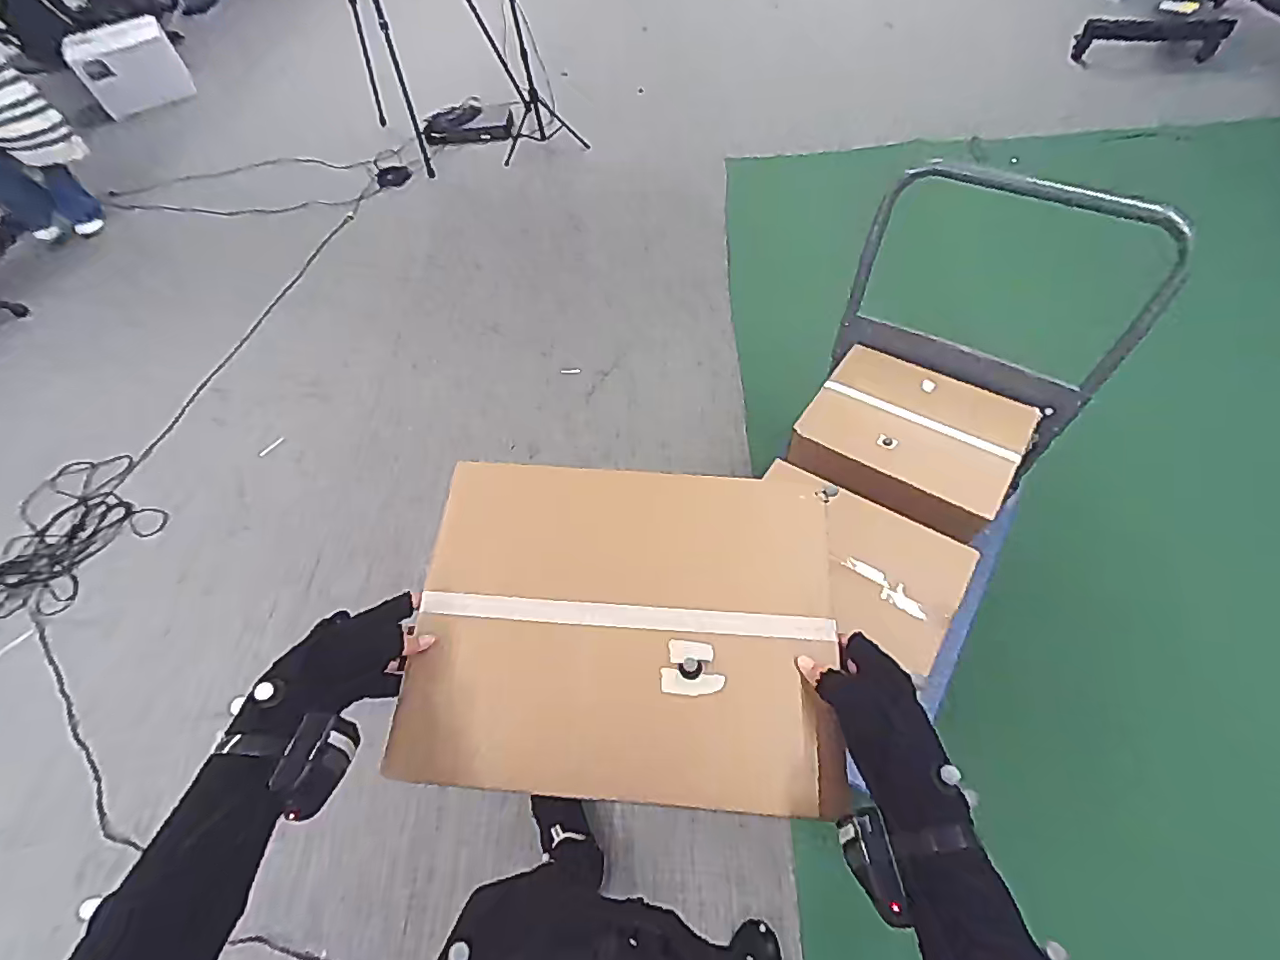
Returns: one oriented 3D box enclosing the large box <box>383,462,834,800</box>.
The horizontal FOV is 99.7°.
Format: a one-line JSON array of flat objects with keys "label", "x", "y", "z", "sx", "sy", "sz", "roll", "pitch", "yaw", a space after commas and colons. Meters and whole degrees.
[{"label": "large box", "x": -0.022, "y": 0.193, "z": 0.667, "sx": 0.408, "sy": 0.320, "sz": 0.320, "roll": 4, "pitch": 64, "yaw": 2}]
